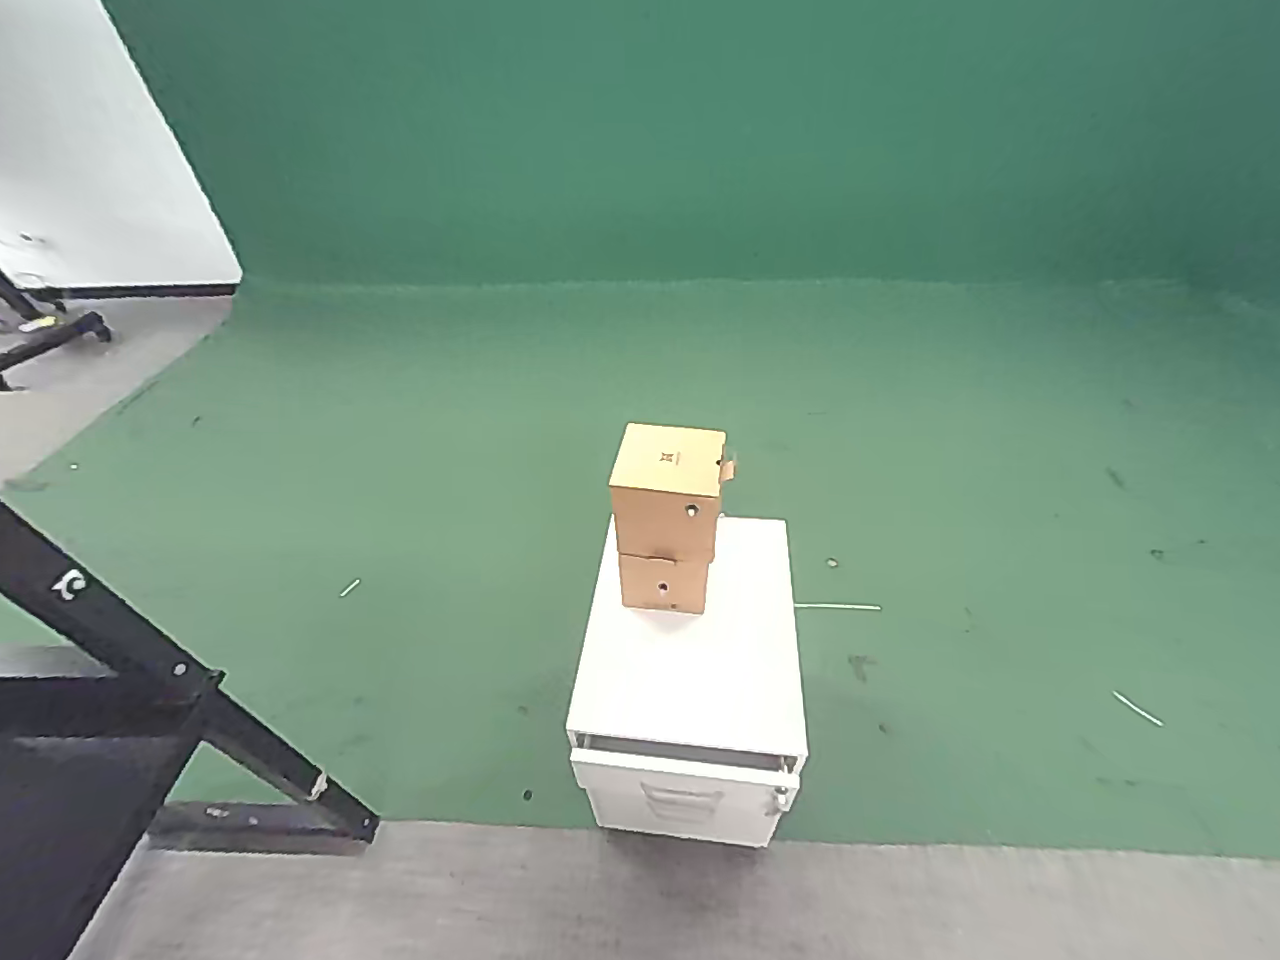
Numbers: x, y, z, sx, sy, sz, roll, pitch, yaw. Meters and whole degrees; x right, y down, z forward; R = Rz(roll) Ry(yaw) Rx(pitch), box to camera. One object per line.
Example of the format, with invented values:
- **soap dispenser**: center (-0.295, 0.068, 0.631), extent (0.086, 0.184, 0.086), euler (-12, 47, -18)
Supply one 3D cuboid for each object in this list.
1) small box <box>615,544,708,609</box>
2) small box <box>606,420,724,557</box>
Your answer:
- **small box**: center (0.051, 0.132, 1.058), extent (0.168, 0.176, 0.179), euler (4, 44, 7)
- **small box**: center (0.048, 0.016, 0.943), extent (0.179, 0.176, 0.168), euler (6, 44, 8)
